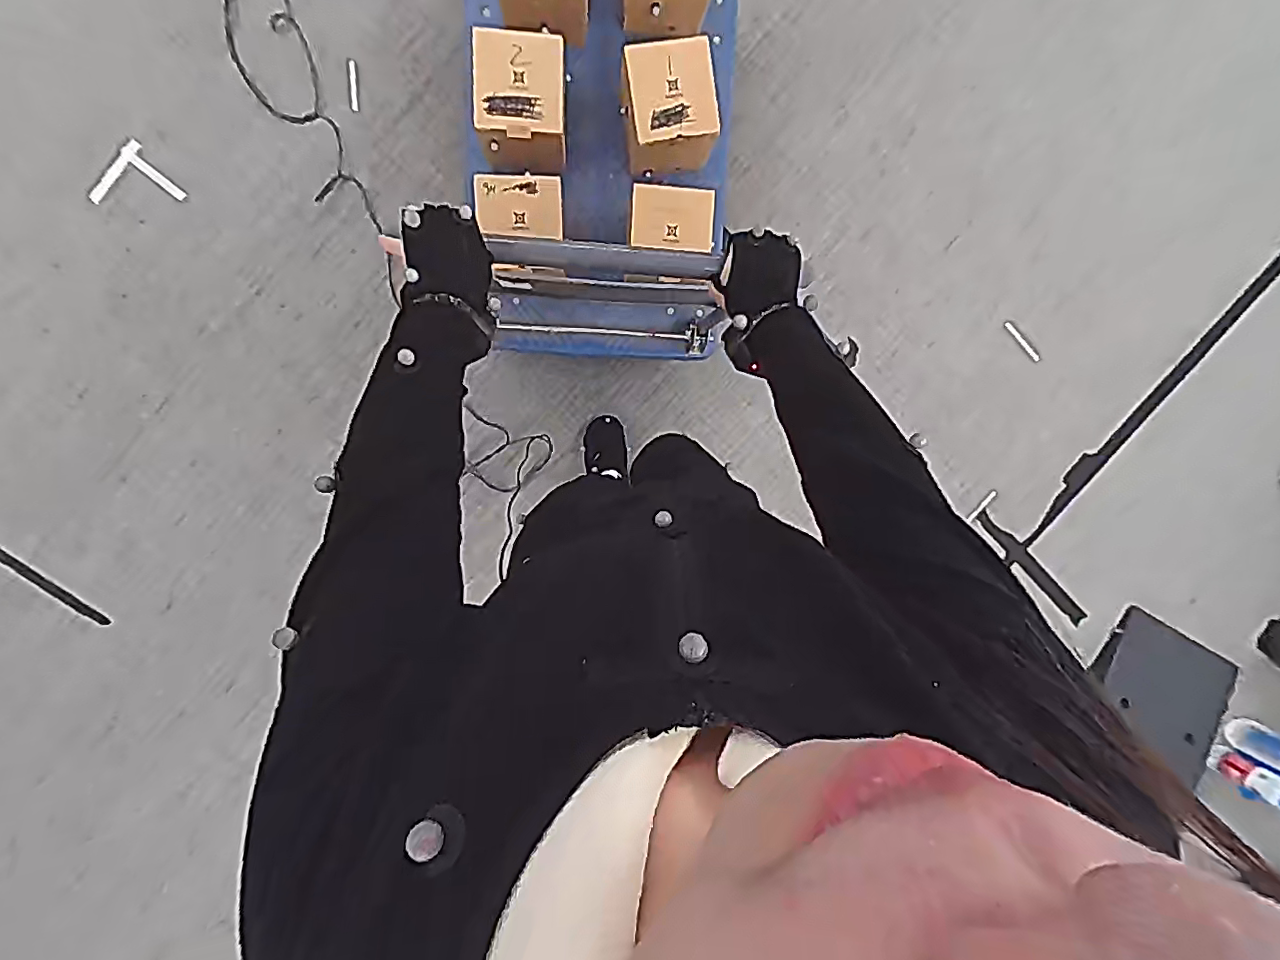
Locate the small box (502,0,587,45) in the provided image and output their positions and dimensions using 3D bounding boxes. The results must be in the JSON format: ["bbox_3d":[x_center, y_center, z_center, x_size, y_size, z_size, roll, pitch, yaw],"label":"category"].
[{"bbox_3d":[-0.185,-1.006,1.052,0.168,0.176,0.179,4,99,-6],"label":"small box"}]

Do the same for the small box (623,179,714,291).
[{"bbox_3d":[0.053,-0.511,1.156,0.168,0.176,0.179,2,98,-7],"label":"small box"}]

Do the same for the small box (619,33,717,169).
[{"bbox_3d":[0.052,-0.766,1.115,0.168,0.176,0.179,-10,99,-4],"label":"small box"}]

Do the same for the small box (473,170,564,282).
[{"bbox_3d":[-0.244,-0.515,1.121,0.168,0.176,0.179,-2,99,-7],"label":"small box"}]

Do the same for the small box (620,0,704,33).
[{"bbox_3d":[0.048,-1.036,1.074,0.168,0.176,0.179,-1,99,-6],"label":"small box"}]
